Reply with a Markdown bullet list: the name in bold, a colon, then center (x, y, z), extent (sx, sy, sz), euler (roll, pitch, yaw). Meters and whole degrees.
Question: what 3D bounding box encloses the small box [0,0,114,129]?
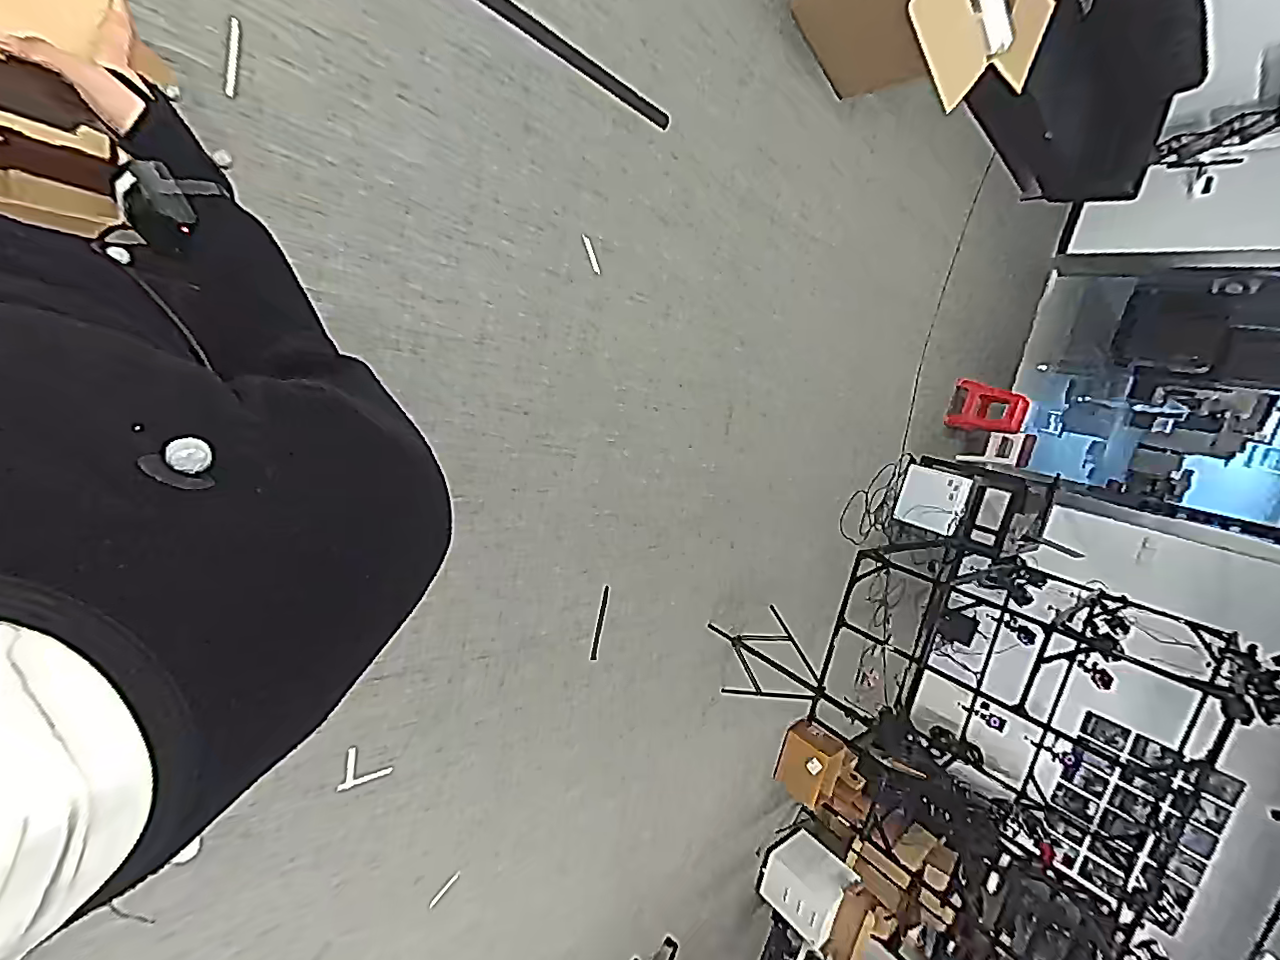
- **small box**: center (-0.551, -0.419, 0.428), extent (0.168, 0.176, 0.179), euler (-4, 104, -54)
